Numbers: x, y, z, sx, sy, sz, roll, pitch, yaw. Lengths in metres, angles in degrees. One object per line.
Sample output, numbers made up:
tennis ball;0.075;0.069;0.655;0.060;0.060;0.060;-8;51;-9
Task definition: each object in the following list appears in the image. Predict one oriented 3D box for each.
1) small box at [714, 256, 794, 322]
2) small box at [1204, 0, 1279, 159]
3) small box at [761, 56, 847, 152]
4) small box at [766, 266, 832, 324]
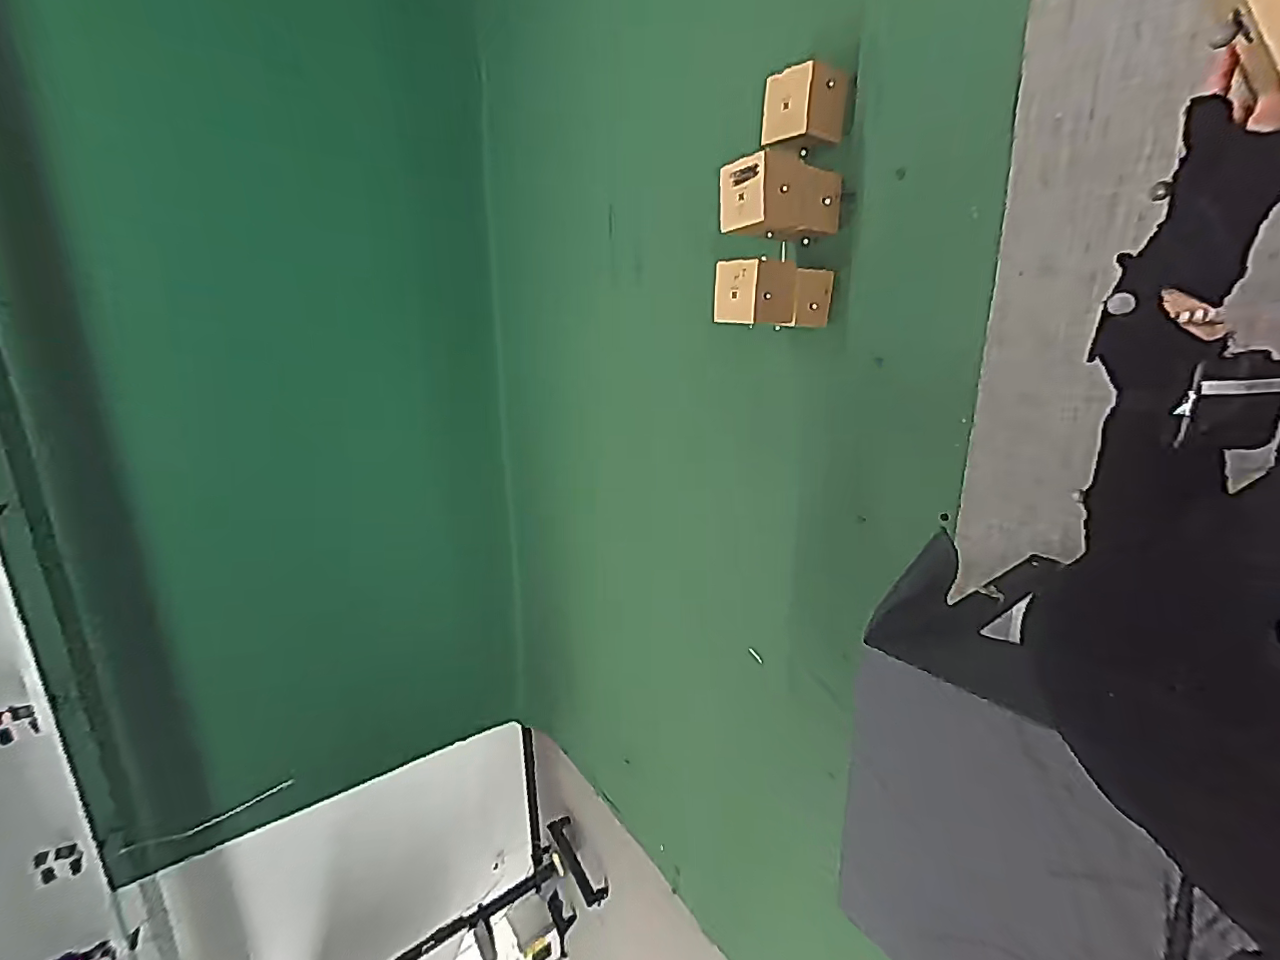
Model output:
small box;0.340;-0.568;1.614;0.168;0.176;0.179;24;118;50
small box;0.425;-0.295;0.277;0.168;0.176;0.179;-24;86;49
small box;0.477;-1.083;1.573;0.168;0.176;0.179;24;118;50
small box;0.479;-0.583;1.703;0.179;0.176;0.168;26;119;49
